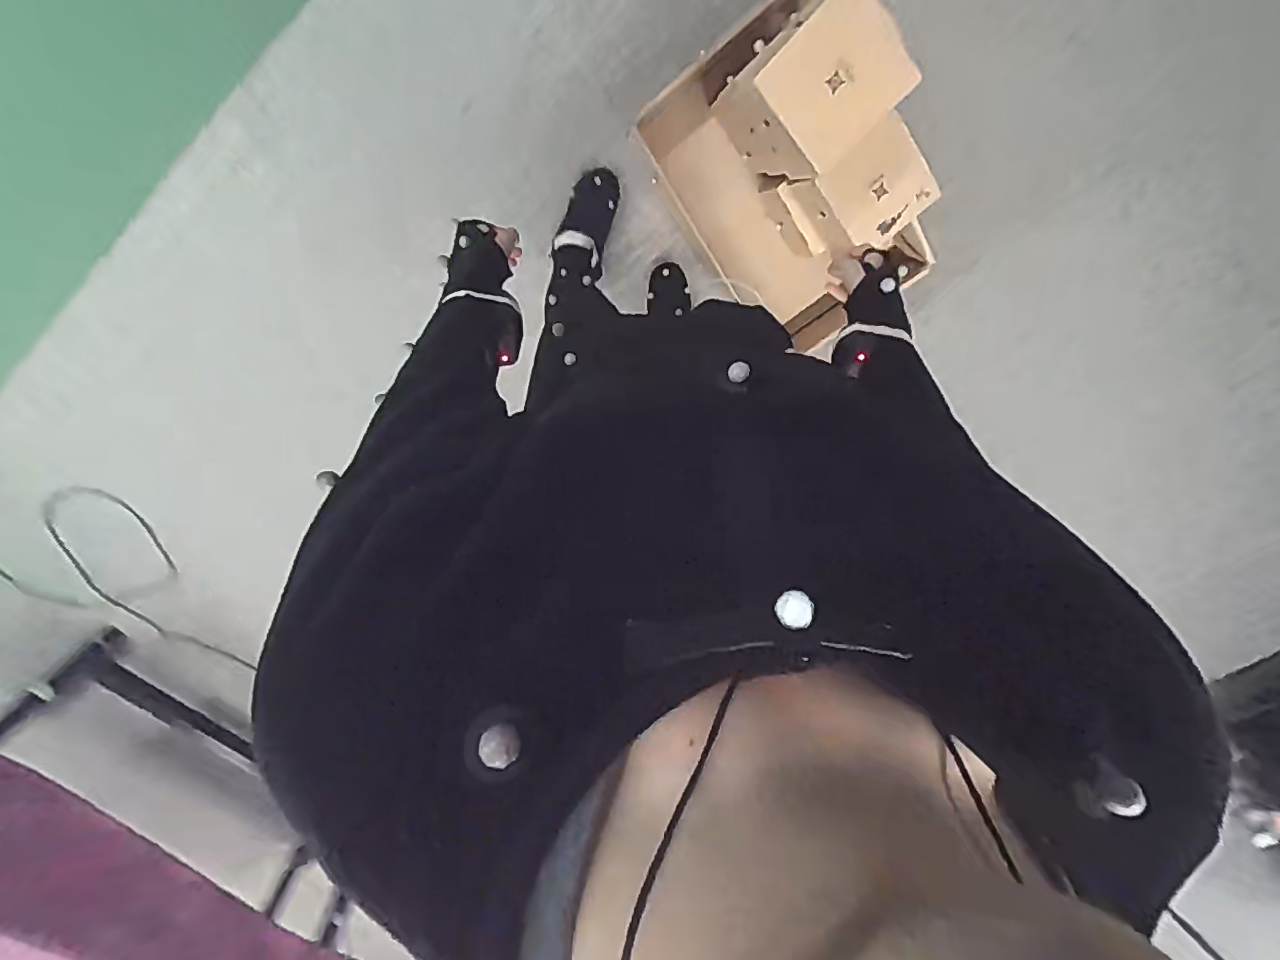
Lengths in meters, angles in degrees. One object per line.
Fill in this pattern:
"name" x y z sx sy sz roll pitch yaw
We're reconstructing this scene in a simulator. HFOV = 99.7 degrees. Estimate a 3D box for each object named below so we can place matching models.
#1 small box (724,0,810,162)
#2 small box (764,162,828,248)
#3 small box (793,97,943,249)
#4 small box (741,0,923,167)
"small box" 0.266 -0.683 0.934 0.168 0.176 0.179 -36 112 17
"small box" 0.389 -0.622 1.152 0.179 0.176 0.168 -33 111 15
"small box" 0.410 -0.554 1.003 0.168 0.176 0.179 -37 110 16
"small box" 0.266 -0.594 0.797 0.179 0.176 0.168 -40 112 18
